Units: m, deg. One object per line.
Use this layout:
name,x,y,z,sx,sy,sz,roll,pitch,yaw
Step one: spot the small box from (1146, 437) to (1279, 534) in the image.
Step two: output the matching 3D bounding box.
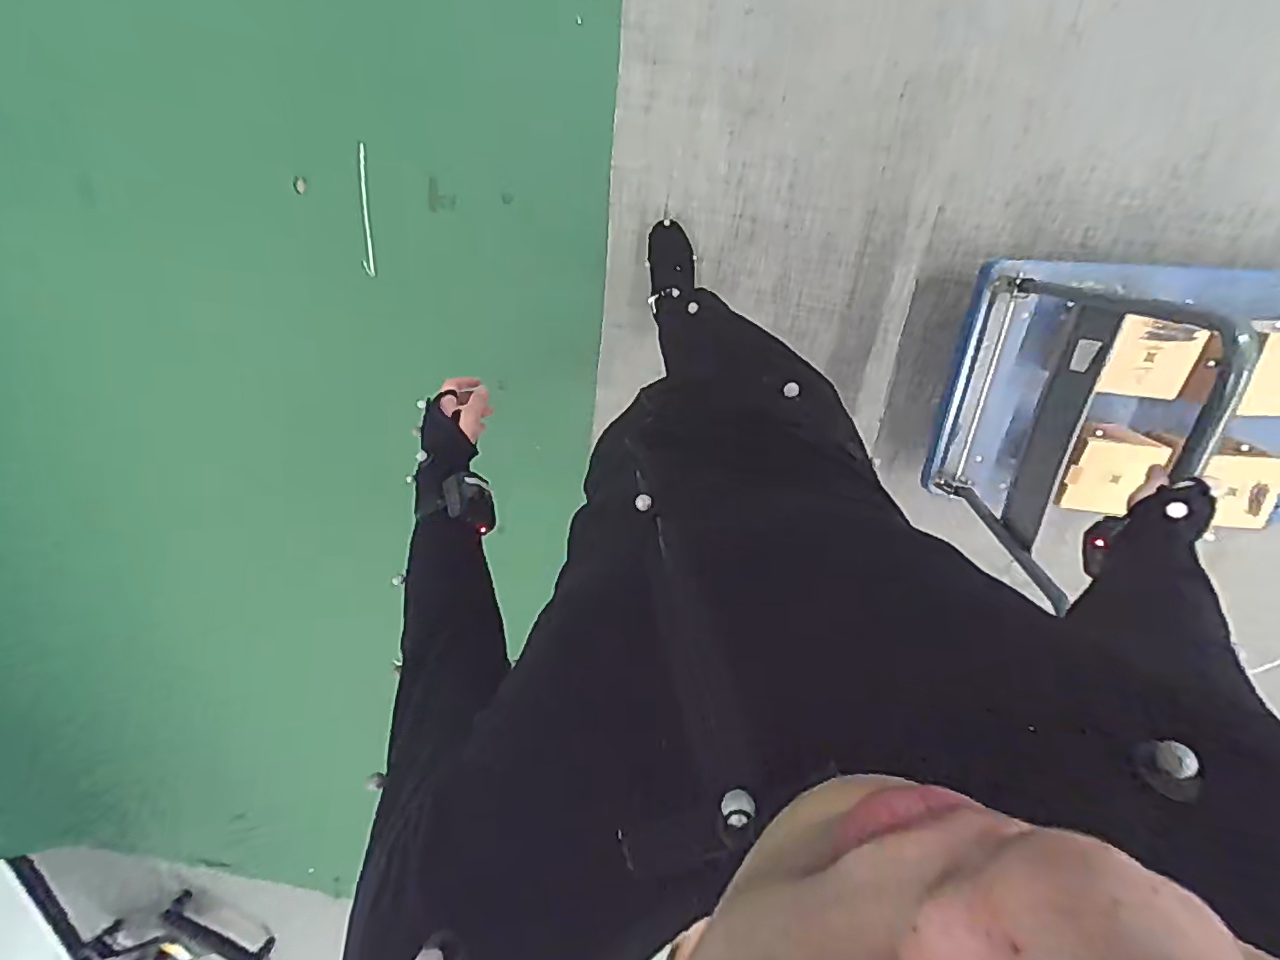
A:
small box,1.289,0.006,1.228,0.179,0.176,0.168,4,113,6

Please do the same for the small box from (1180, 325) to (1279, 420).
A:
small box,1.300,-0.226,1.123,0.179,0.176,0.168,2,115,7

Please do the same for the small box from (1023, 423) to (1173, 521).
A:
small box,1.043,-0.025,1.250,0.179,0.176,0.168,7,114,5
